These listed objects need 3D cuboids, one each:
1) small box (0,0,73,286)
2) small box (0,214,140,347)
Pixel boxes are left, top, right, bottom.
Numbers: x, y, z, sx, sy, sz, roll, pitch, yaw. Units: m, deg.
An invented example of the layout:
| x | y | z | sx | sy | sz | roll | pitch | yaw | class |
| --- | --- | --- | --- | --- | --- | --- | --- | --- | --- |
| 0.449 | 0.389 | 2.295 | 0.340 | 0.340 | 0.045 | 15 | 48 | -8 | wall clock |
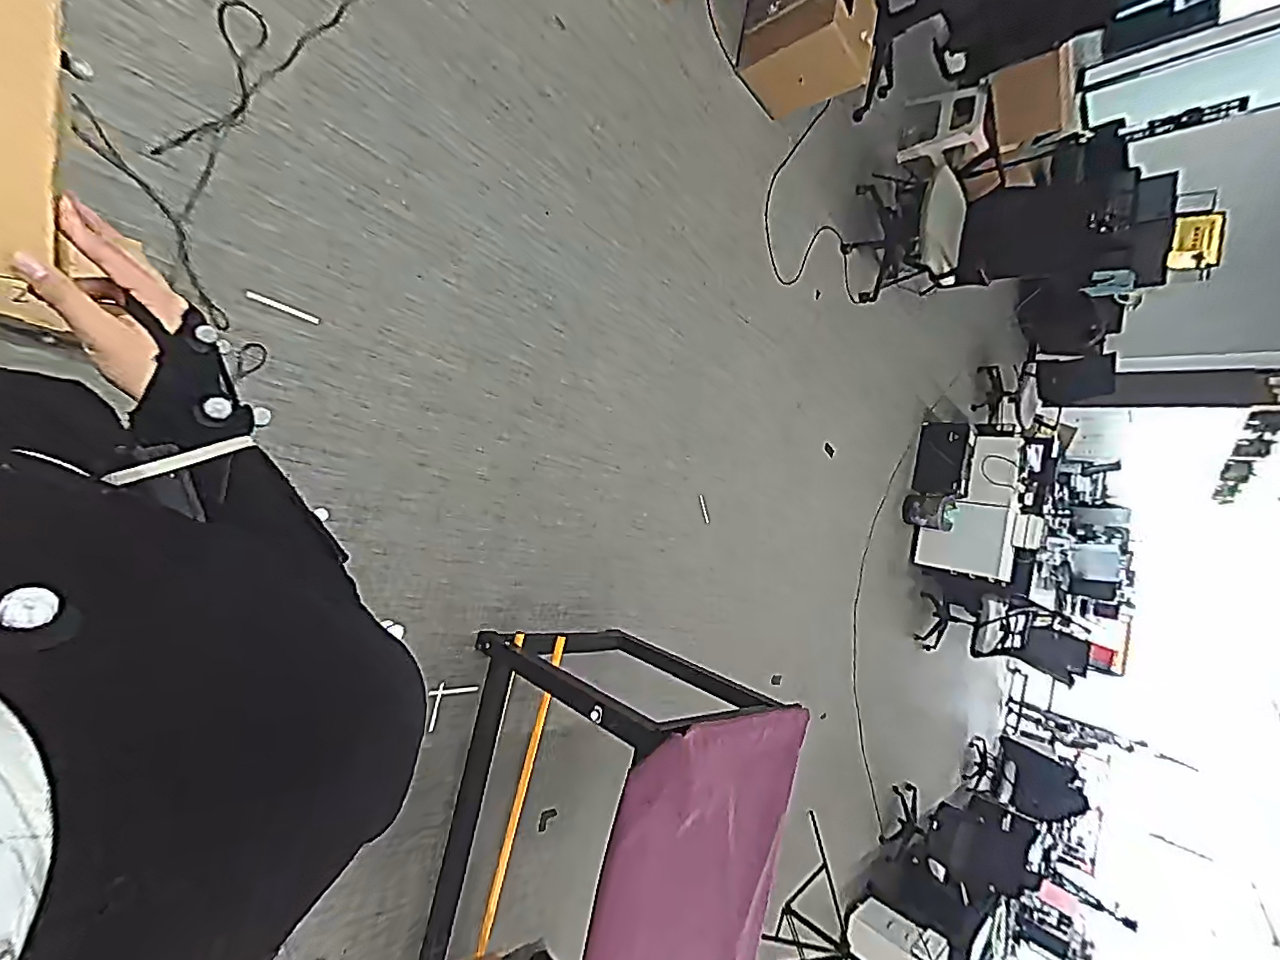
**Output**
| x | y | z | sx | sy | sz | roll | pitch | yaw | class |
| --- | --- | --- | --- | --- | --- | --- | --- | --- | --- |
| -0.449 | -0.224 | 0.310 | 0.168 | 0.176 | 0.179 | 1 | 105 | -46 | small box |
| -0.941 | -0.327 | 0.869 | 0.168 | 0.176 | 0.179 | 15 | 86 | -45 | small box |
